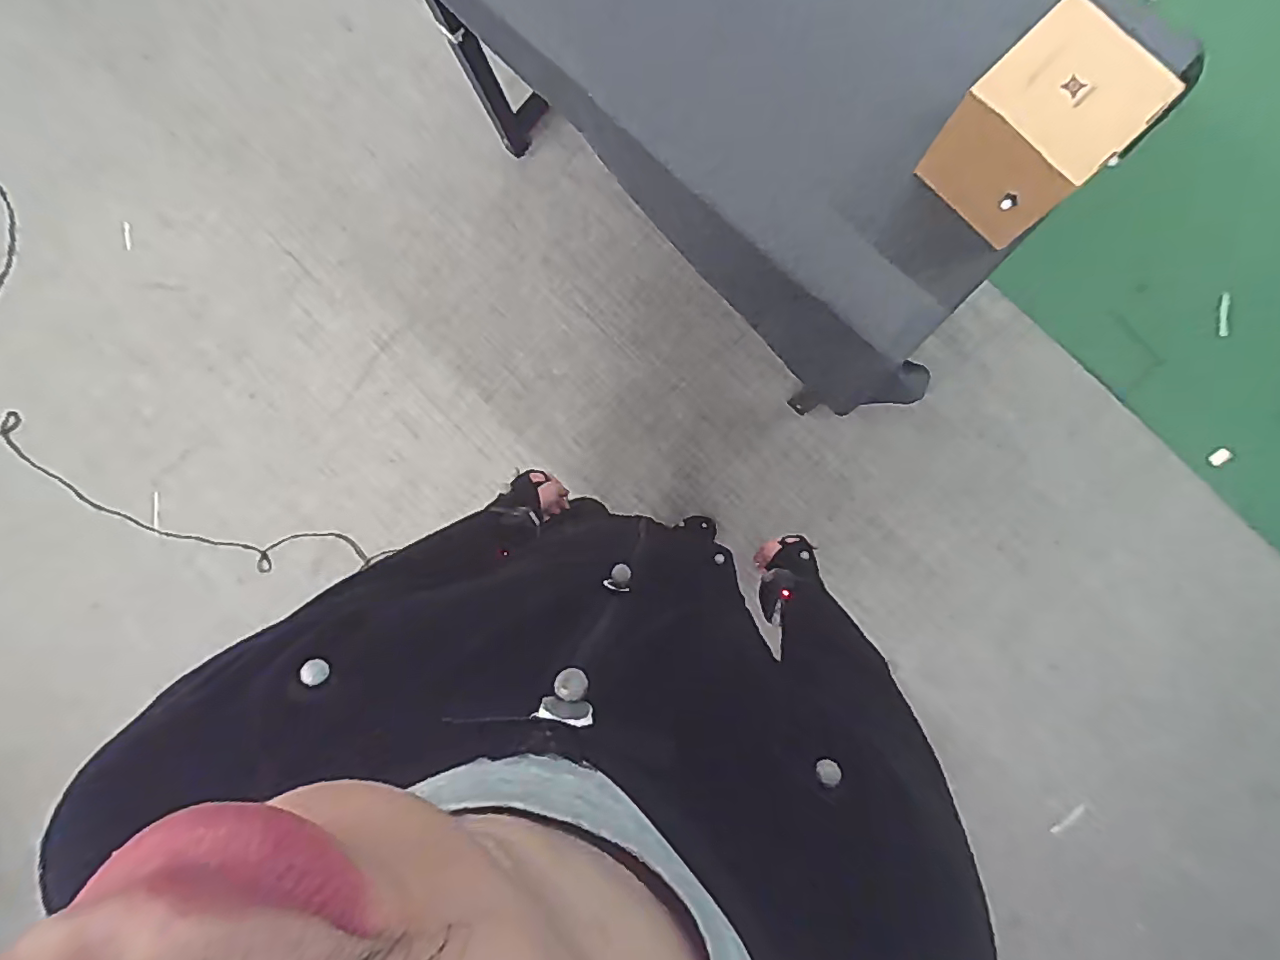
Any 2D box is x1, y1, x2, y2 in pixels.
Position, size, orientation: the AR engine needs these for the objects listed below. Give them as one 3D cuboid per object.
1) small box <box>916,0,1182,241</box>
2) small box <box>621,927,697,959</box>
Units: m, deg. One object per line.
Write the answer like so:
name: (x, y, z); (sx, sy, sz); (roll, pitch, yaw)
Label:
small box: (0.508, -0.445, 0.704); (0.168, 0.176, 0.179); (-44, 84, 3)
small box: (0.033, 0.893, 0.876); (0.179, 0.176, 0.168); (-42, 86, 5)
